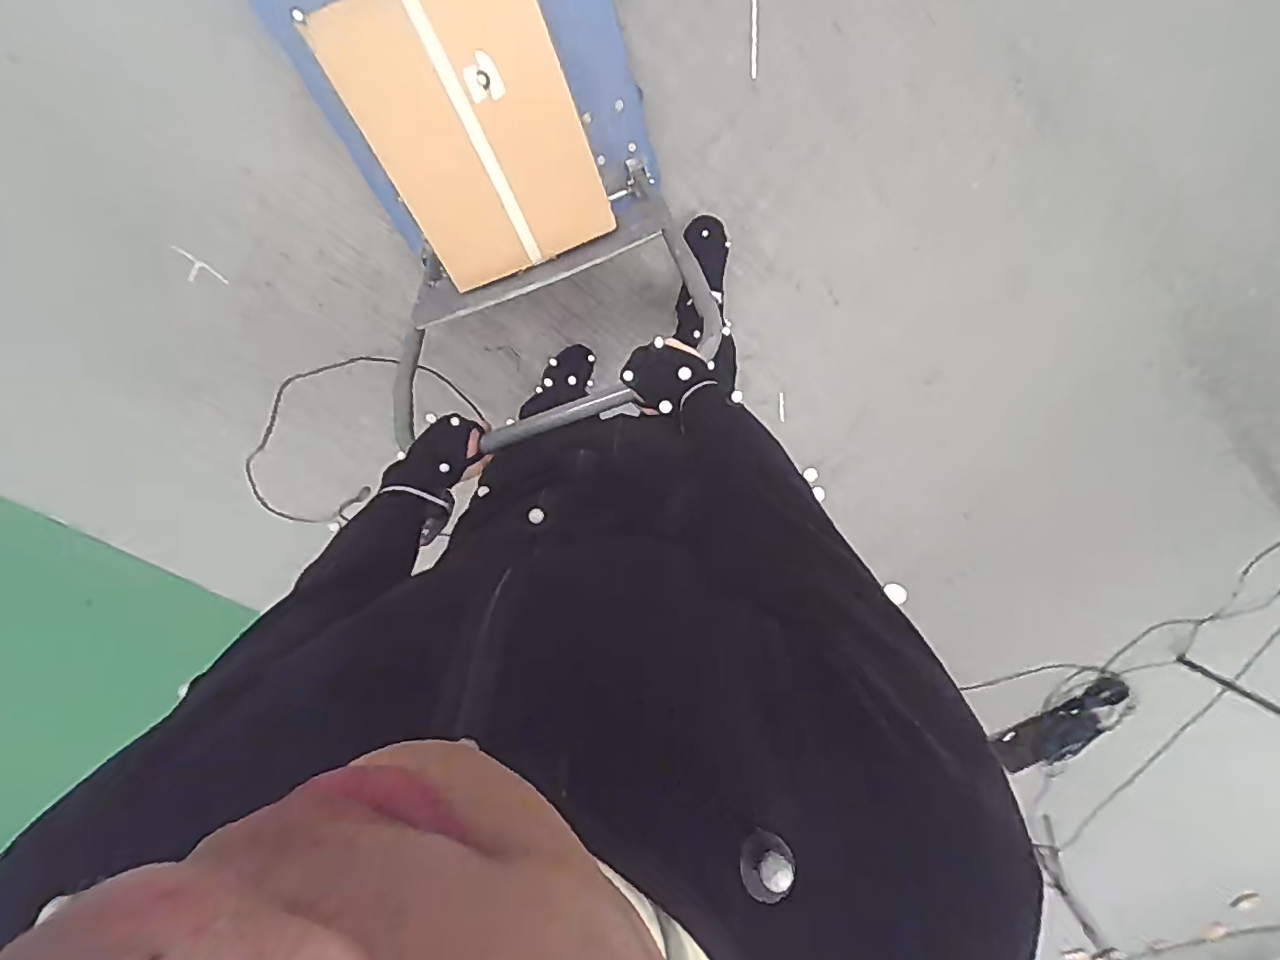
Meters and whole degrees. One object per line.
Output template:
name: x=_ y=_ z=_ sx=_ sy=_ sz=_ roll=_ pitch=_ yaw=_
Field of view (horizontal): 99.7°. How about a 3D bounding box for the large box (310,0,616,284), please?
large box: x=-0.264 y=-0.640 z=0.960 sx=0.320 sy=0.320 sz=0.408 roll=-19 pitch=133 yaw=7
